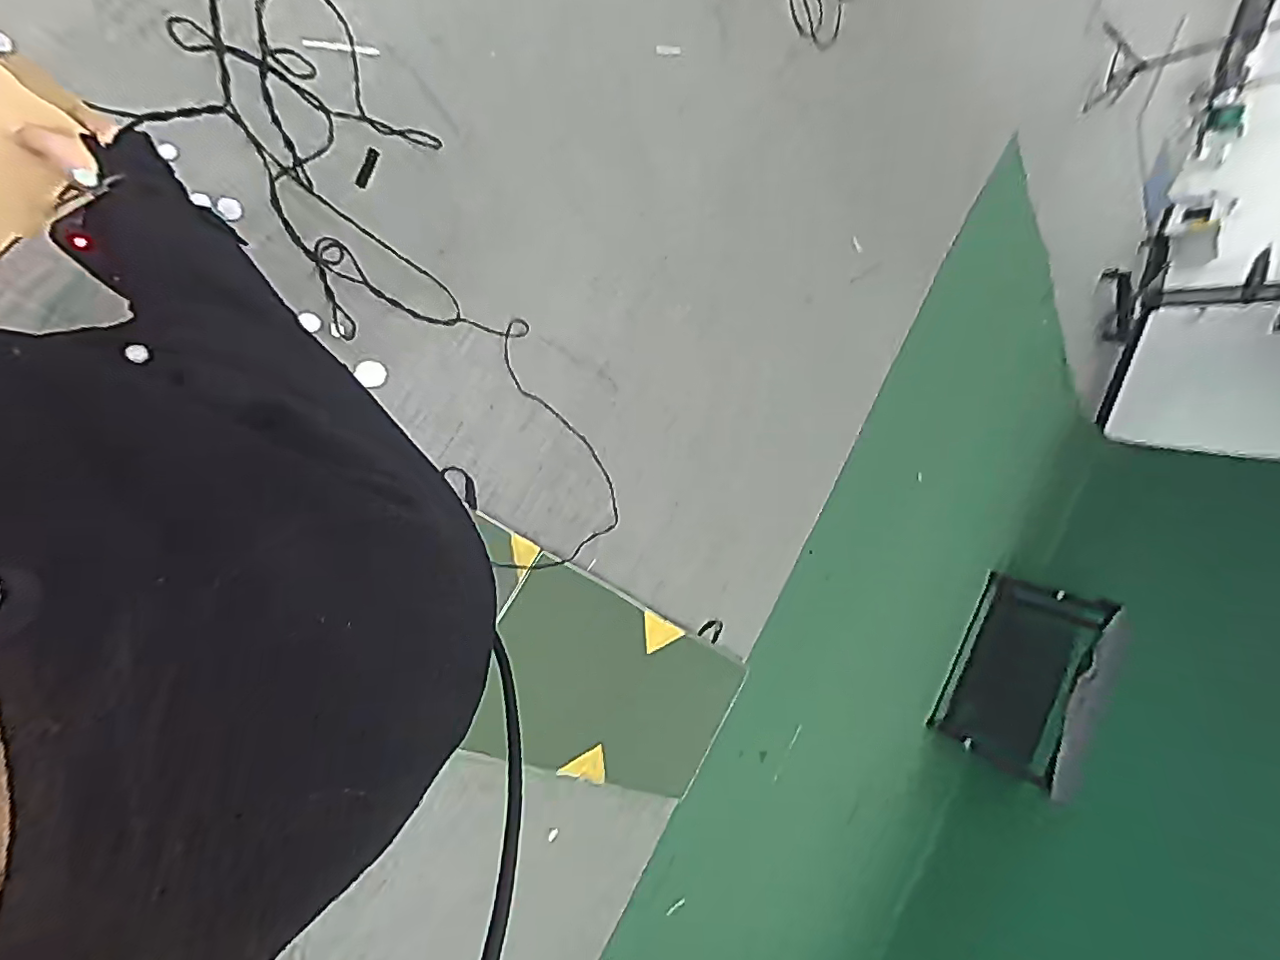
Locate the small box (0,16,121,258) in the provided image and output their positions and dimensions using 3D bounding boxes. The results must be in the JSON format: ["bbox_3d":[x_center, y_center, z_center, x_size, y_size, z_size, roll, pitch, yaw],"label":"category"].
[{"bbox_3d":[-0.568,-0.306,0.417,0.168,0.176,0.179,-47,148,-3],"label":"small box"}]
